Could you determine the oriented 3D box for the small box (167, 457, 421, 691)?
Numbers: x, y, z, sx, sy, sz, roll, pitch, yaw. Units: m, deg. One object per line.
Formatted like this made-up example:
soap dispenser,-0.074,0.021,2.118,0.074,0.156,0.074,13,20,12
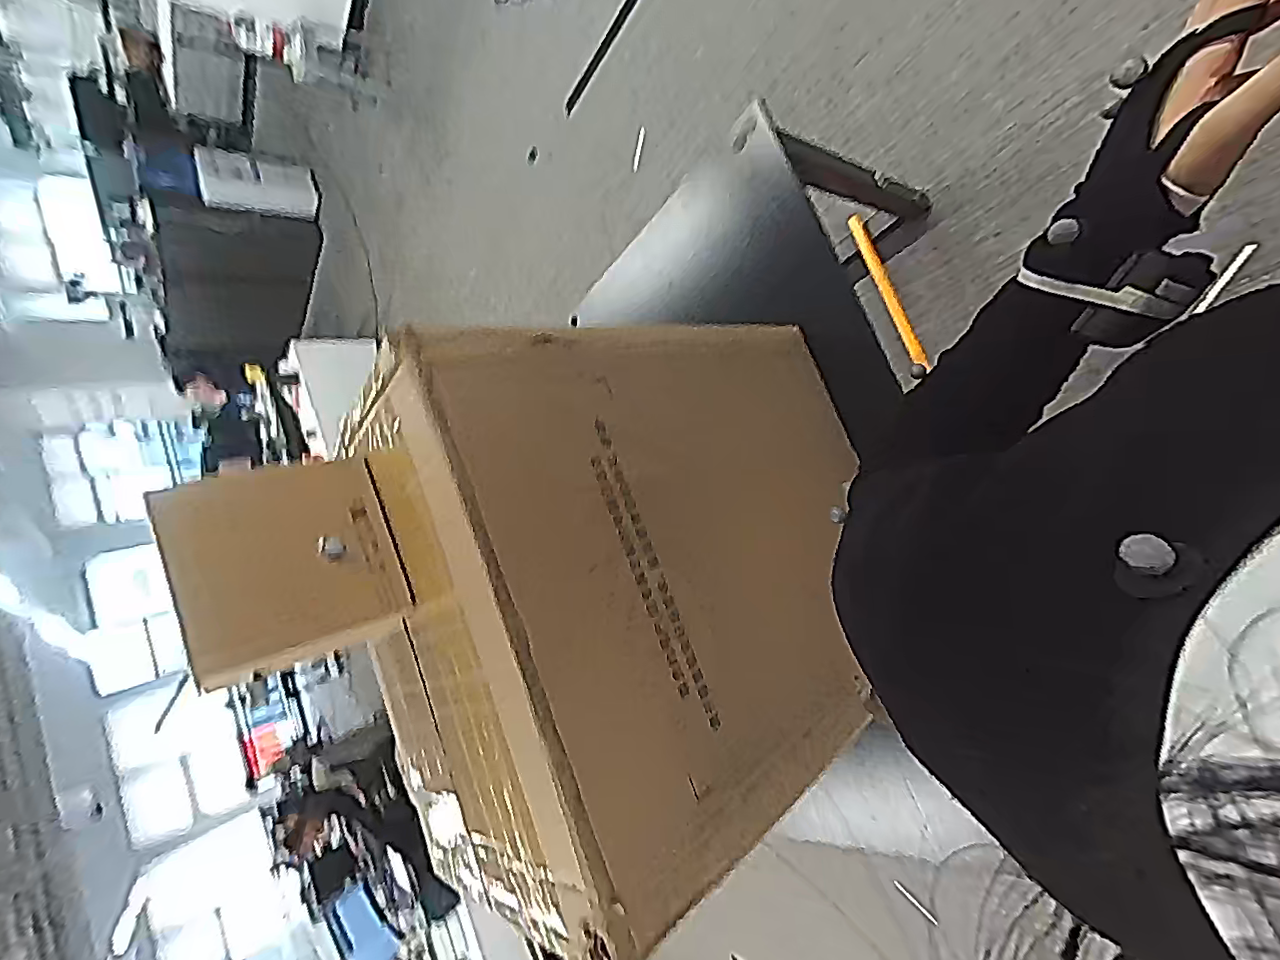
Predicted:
small box,-0.340,0.093,0.545,0.179,0.176,0.168,-34,76,49
